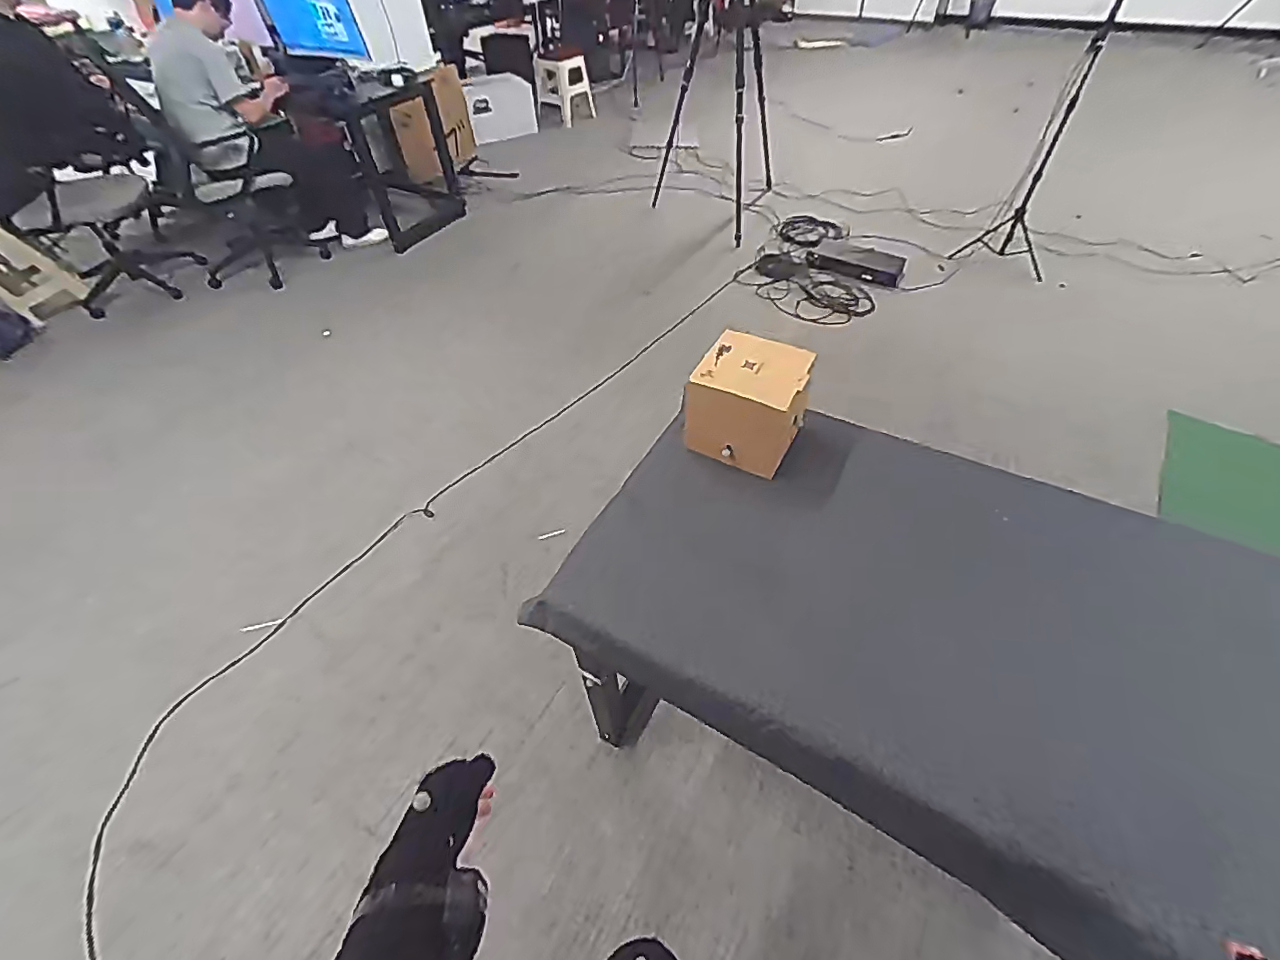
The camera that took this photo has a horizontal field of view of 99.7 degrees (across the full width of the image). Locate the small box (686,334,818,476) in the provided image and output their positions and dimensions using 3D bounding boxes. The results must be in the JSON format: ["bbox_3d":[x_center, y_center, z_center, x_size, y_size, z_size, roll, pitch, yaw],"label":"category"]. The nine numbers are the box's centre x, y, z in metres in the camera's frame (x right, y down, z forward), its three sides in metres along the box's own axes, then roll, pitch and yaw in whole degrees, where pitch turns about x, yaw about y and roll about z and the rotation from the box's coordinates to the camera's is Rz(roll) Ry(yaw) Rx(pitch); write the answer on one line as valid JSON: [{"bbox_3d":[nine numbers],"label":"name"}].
[{"bbox_3d":[0.198,-0.132,0.986,0.179,0.176,0.168,23,54,20],"label":"small box"}]
